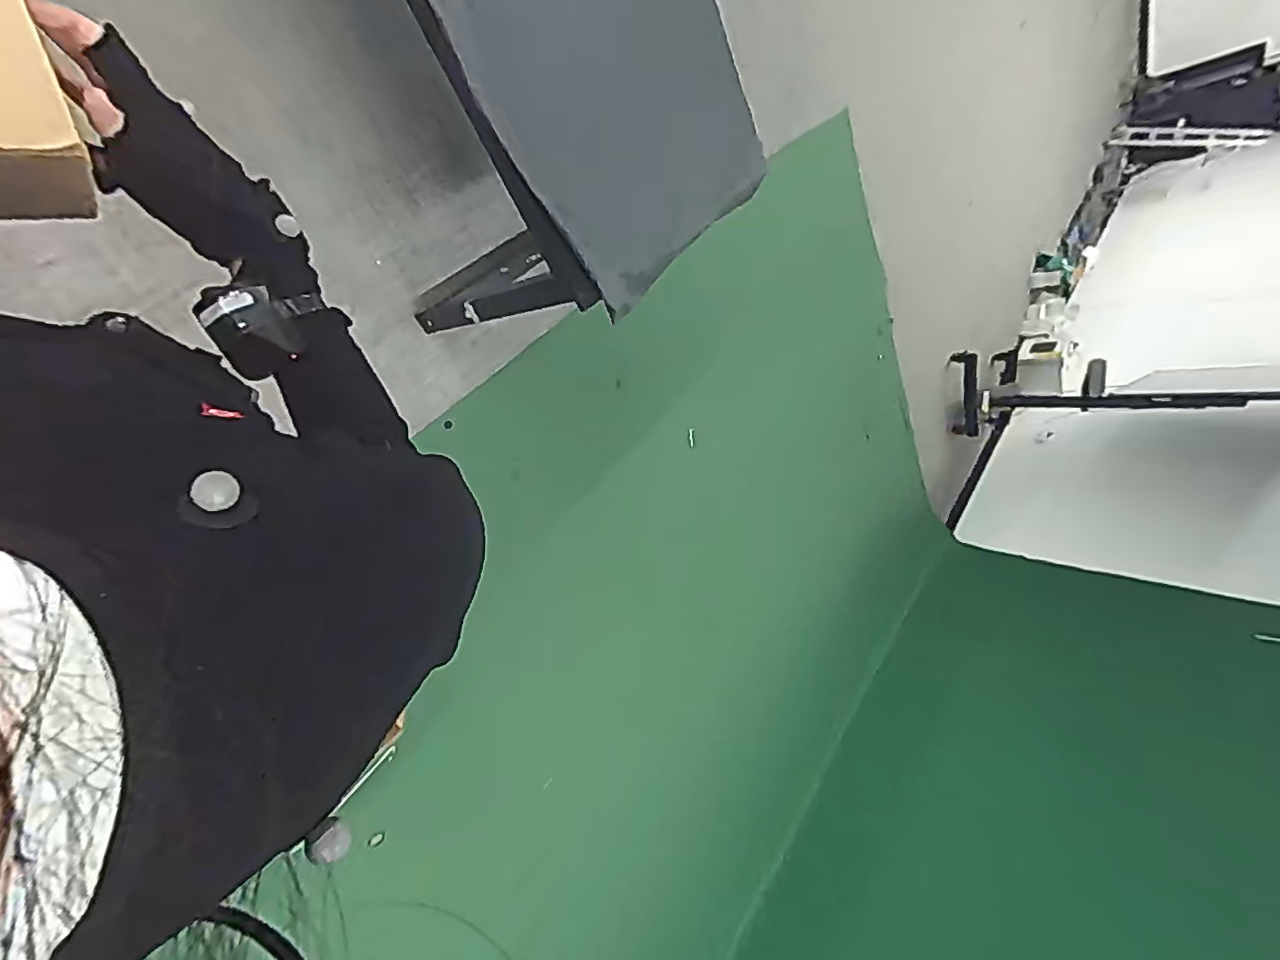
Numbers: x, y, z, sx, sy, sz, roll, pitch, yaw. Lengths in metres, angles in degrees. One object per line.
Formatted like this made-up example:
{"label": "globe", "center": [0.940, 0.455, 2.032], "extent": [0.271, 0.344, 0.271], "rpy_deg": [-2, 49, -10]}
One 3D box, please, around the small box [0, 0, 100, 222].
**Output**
{"label": "small box", "center": [-0.413, -0.237, 0.265], "extent": [0.168, 0.176, 0.179], "rpy_deg": [-25, 115, -38]}
